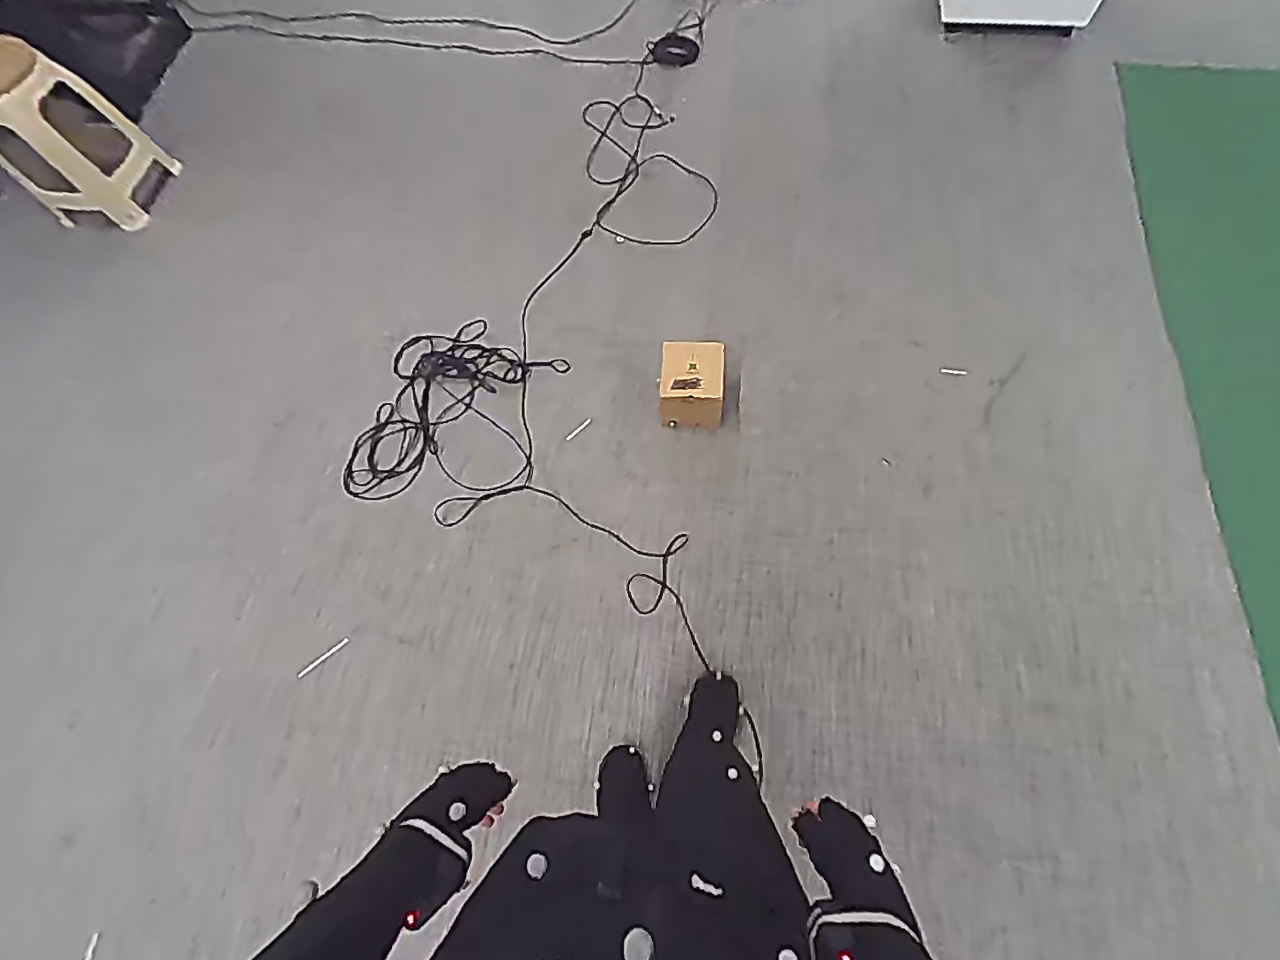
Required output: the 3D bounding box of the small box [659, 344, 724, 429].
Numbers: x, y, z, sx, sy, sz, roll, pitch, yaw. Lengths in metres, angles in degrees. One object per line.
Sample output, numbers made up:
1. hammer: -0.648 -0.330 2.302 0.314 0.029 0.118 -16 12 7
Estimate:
1. small box: 0.143 -0.253 1.497 0.168 0.176 0.179 3 68 5
